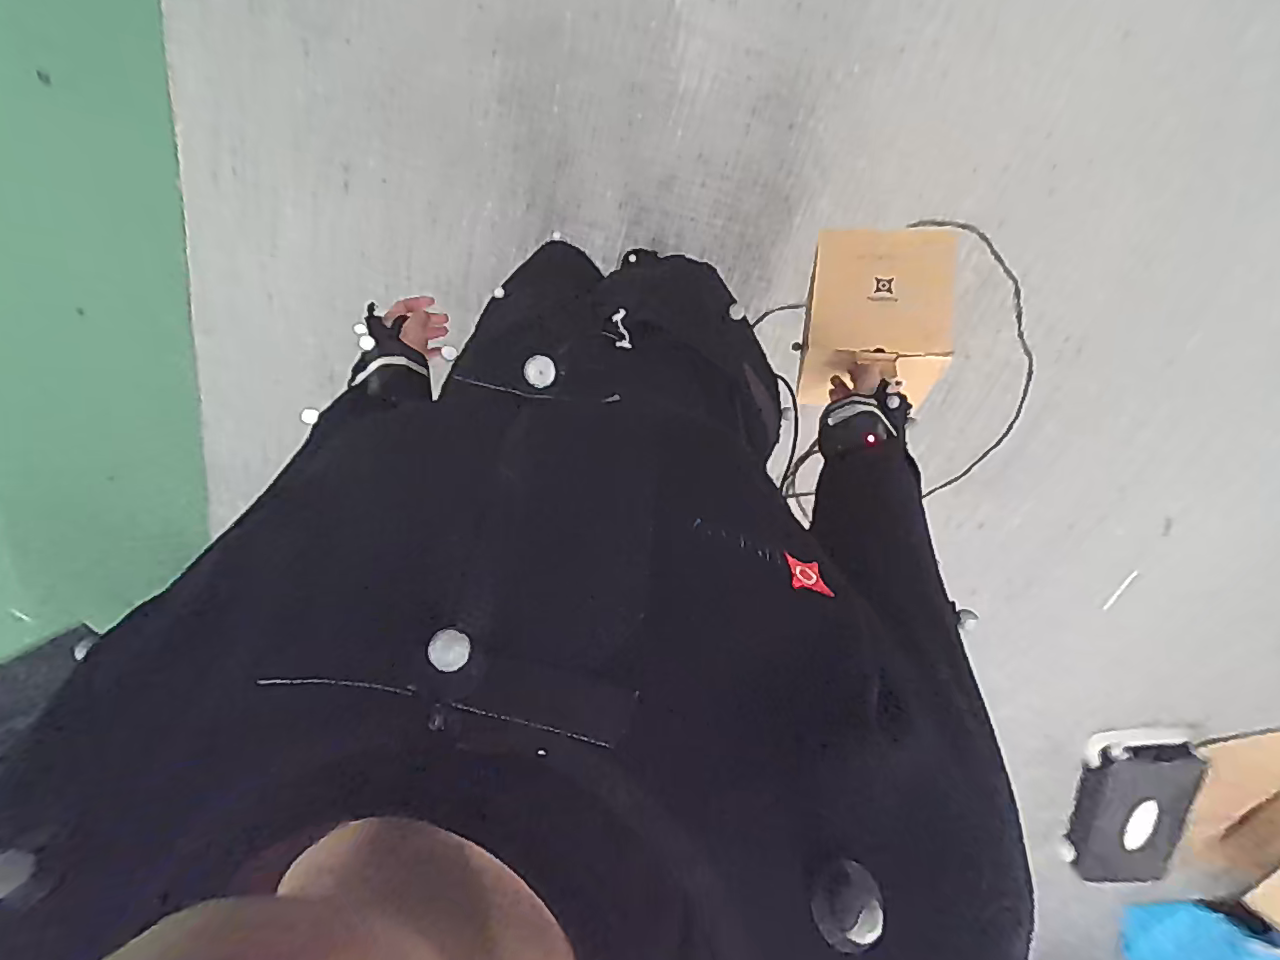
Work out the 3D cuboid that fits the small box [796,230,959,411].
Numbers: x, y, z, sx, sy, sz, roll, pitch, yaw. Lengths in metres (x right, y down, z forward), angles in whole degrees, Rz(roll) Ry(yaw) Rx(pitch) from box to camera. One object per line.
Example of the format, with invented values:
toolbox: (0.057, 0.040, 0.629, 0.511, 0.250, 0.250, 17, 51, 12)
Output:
small box: (0.308, -0.206, 0.729, 0.168, 0.176, 0.179, 7, 76, 11)
